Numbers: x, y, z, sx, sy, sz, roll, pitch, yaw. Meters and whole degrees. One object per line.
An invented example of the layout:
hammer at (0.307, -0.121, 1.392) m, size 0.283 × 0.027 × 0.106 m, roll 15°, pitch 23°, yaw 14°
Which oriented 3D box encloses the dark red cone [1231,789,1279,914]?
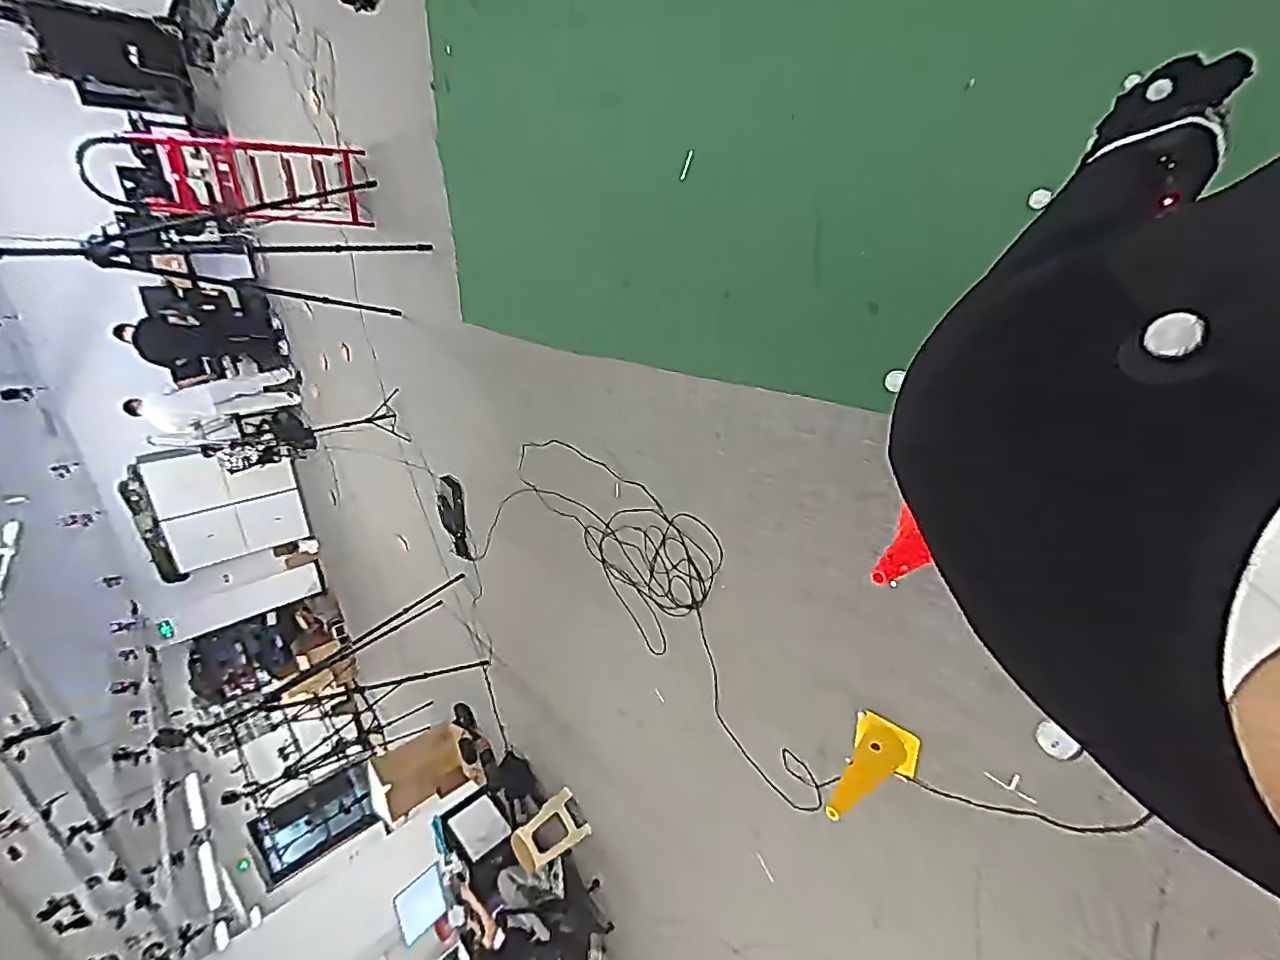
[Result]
dark red cone at (1.226, 0.782, 0.979) m, size 0.202 × 0.394 × 0.201 m, roll 16°, pitch 116°, yaw 45°
